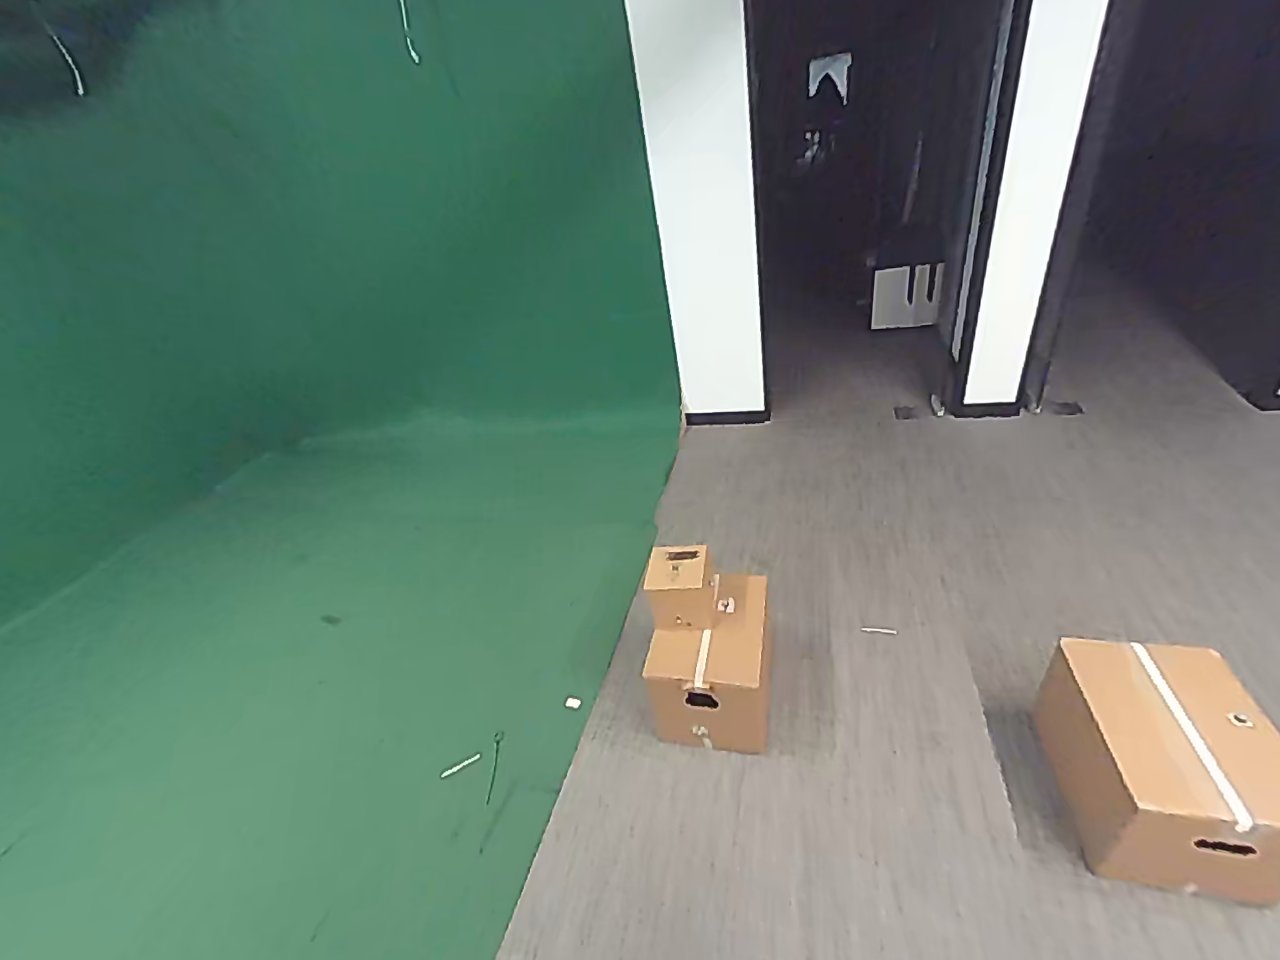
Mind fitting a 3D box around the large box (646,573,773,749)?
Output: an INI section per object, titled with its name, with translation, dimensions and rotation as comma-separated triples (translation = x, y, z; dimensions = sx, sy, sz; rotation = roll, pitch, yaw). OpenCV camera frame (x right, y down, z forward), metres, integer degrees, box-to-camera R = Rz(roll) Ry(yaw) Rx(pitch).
[large box]
translation = 0.232, 0.538, 1.644
dimensions = 0.320, 0.320, 0.408
rotation = -1, 34, 18
